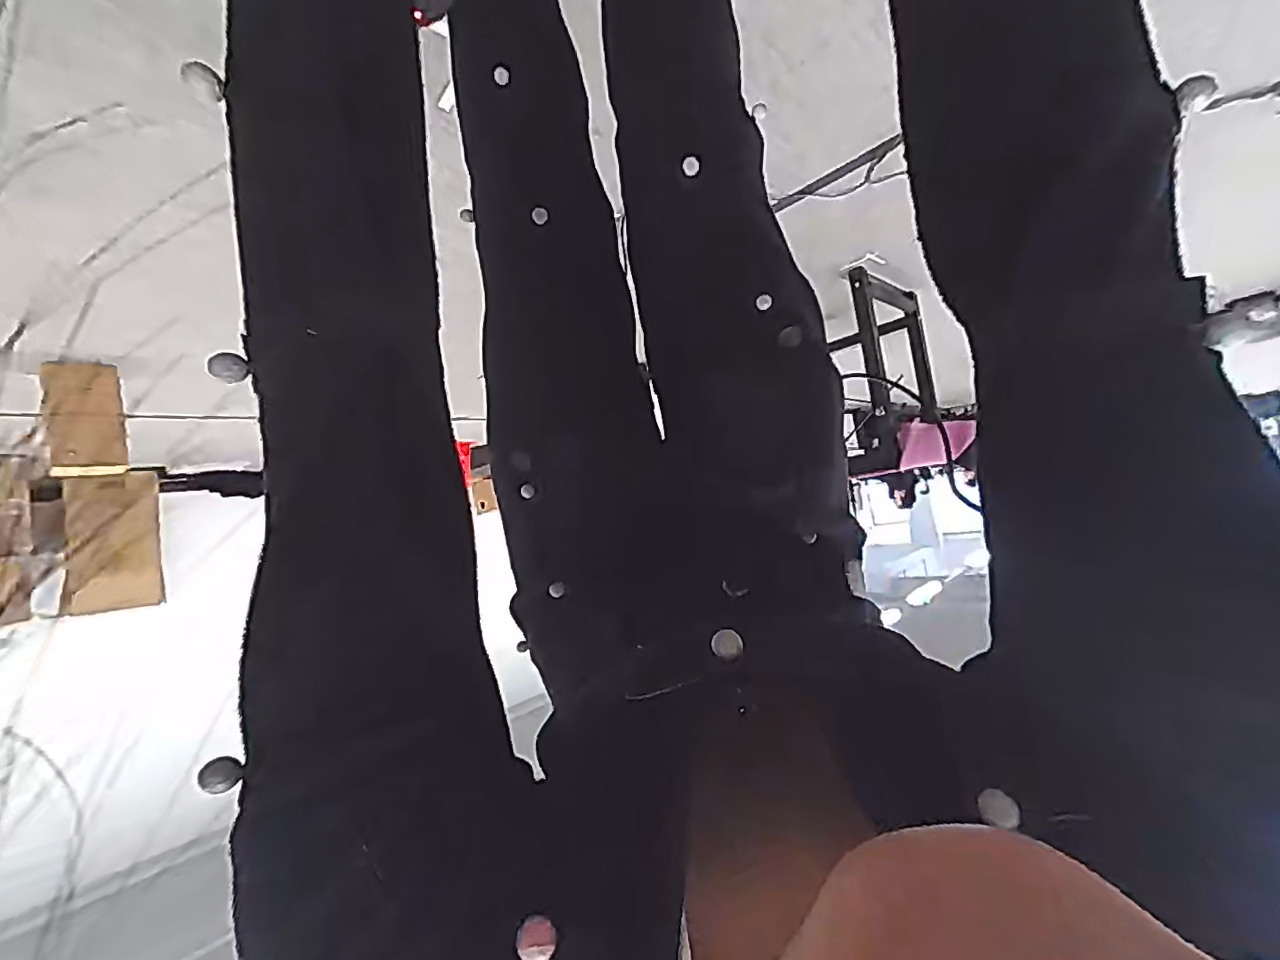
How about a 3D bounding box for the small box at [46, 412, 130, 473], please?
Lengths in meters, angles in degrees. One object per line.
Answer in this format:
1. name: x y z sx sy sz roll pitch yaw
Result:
1. small box: -1.786 -0.123 1.748 0.168 0.176 0.179 -11 177 41
